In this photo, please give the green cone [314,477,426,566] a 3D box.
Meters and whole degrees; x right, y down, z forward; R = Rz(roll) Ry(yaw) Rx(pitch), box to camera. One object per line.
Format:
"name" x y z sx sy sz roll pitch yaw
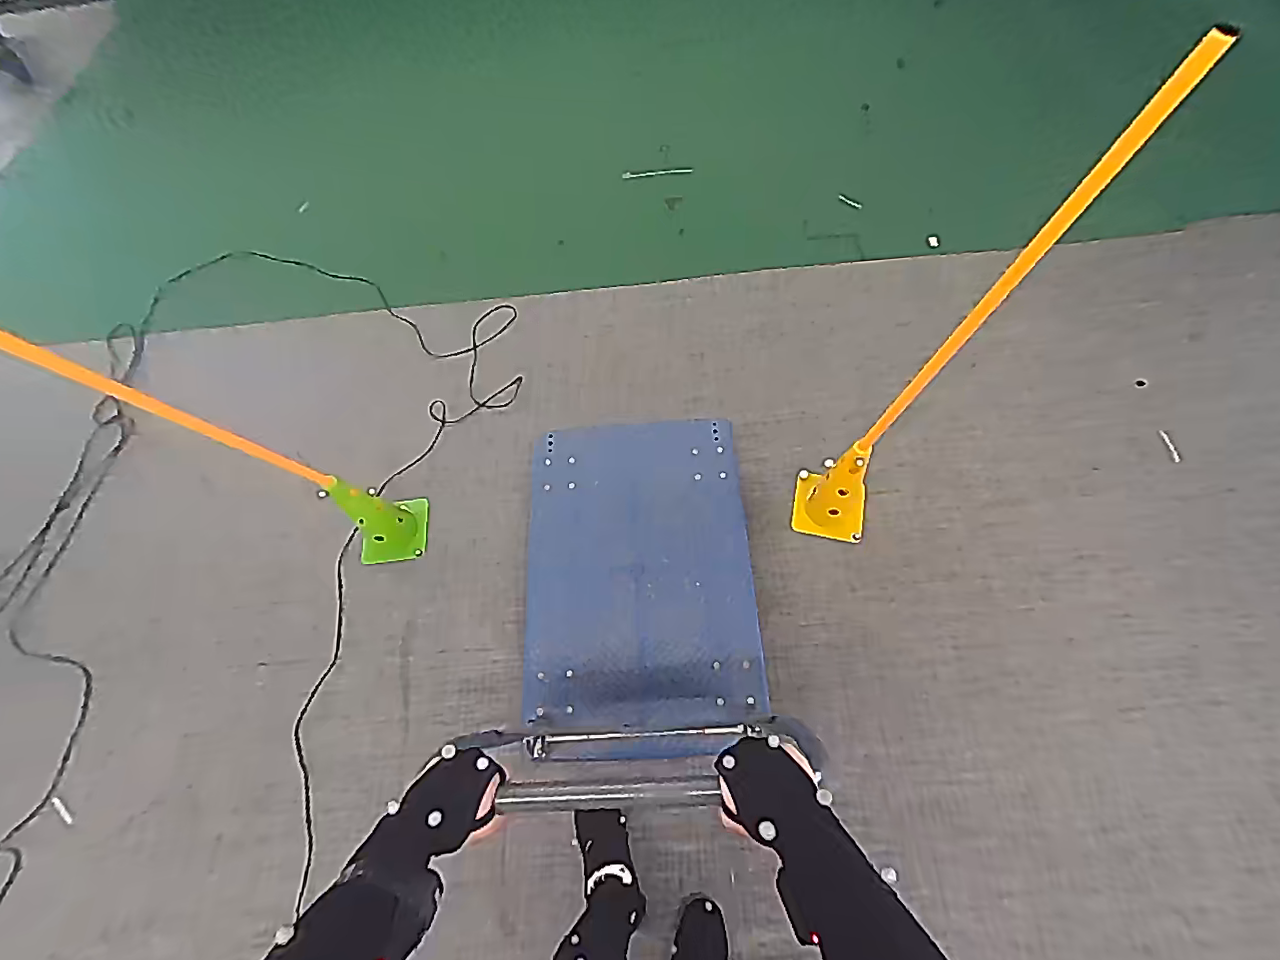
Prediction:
"green cone" -0.786 0.084 1.534 0.202 0.368 0.200 -9 63 3
